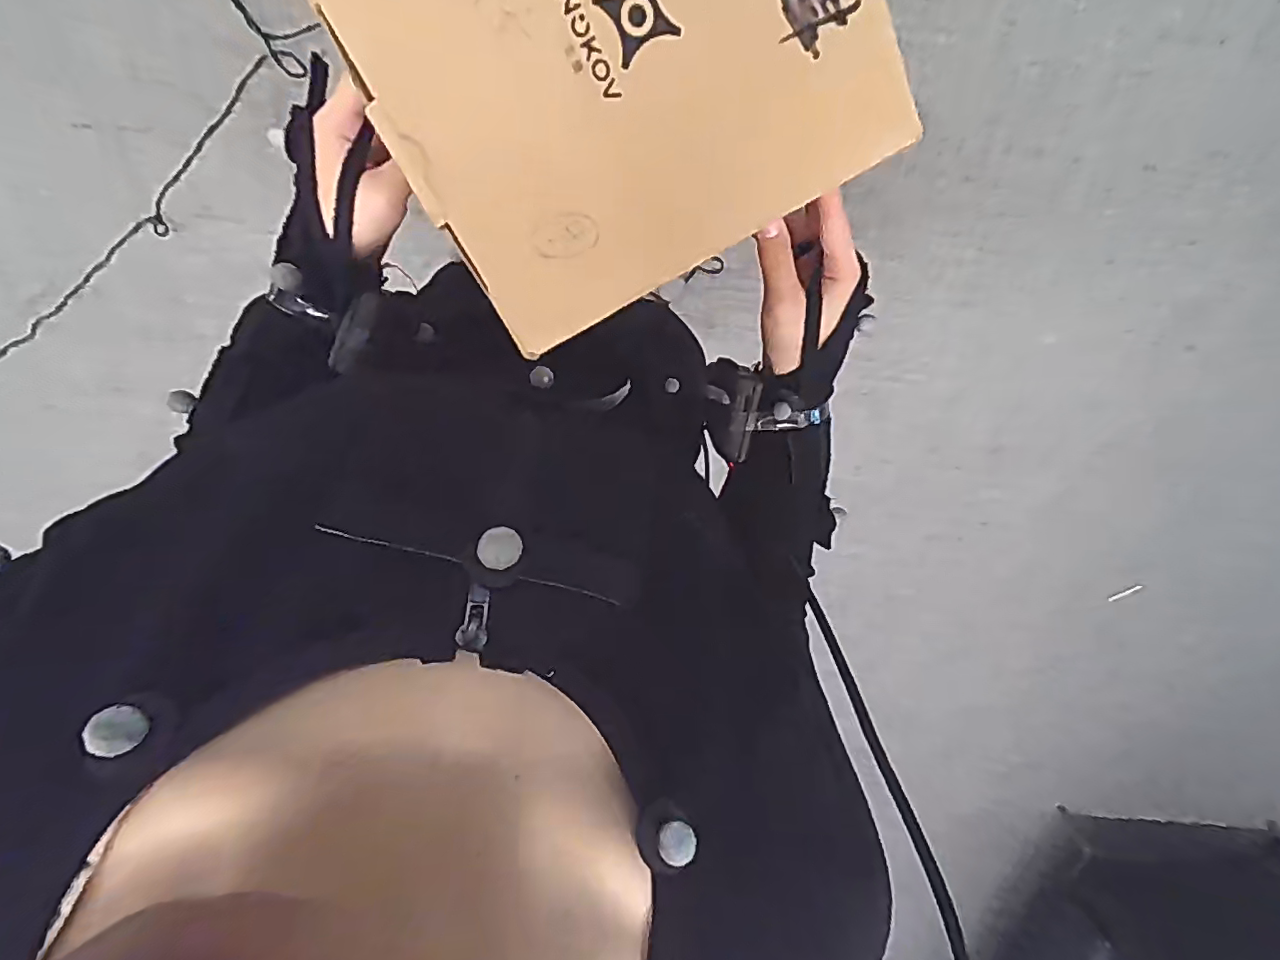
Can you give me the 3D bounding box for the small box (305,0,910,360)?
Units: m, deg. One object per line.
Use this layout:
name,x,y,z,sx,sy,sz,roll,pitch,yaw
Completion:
small box,-0.011,-0.180,0.265,0.179,0.176,0.168,-26,110,9
